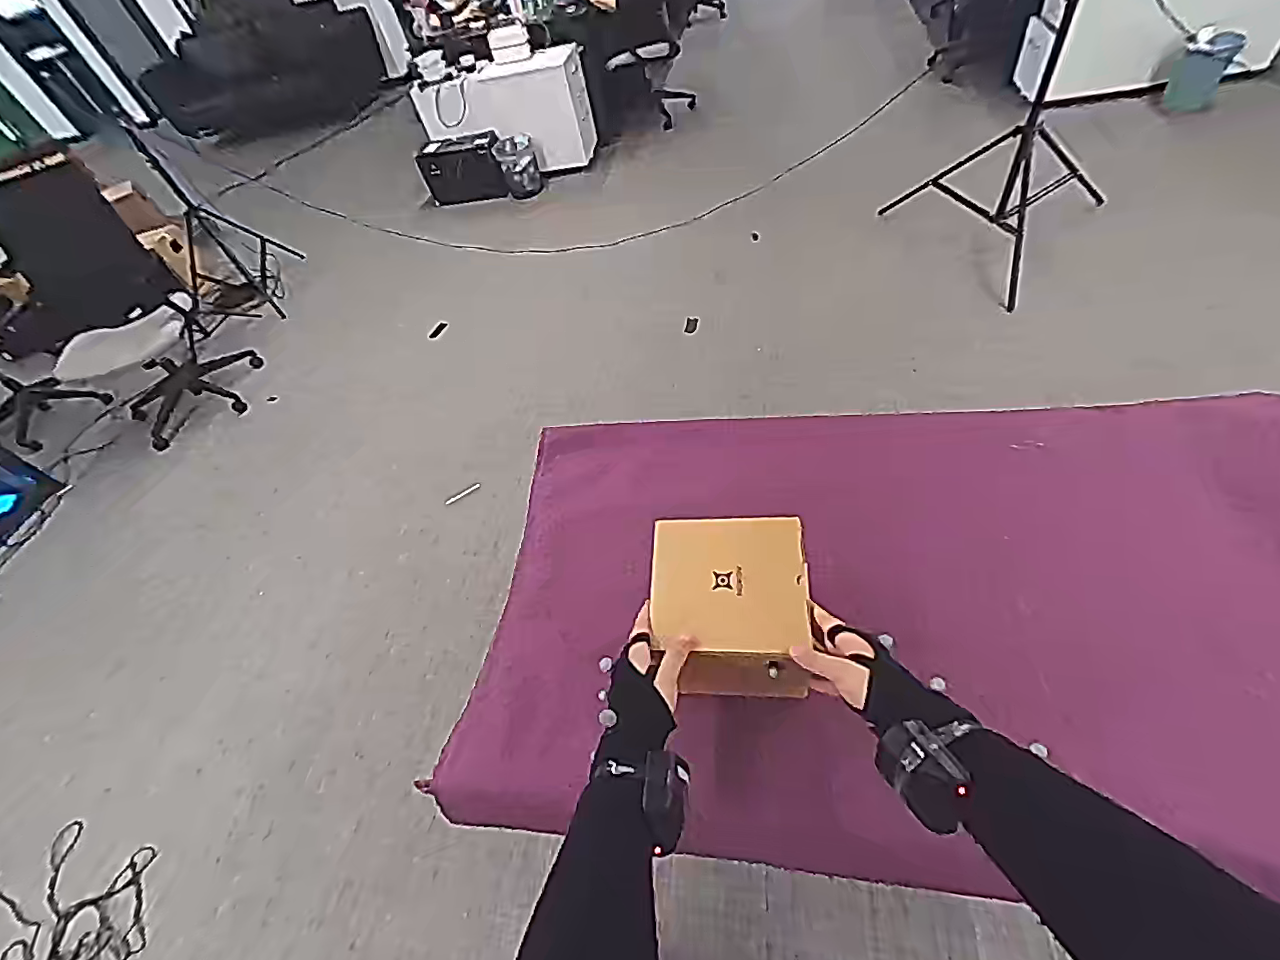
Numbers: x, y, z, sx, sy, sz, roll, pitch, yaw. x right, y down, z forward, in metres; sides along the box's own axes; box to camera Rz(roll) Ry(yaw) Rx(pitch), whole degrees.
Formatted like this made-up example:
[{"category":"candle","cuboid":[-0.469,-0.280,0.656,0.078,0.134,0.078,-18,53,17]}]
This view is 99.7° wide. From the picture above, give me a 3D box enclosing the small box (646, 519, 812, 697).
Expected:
[{"category":"small box","cuboid":[0.112,0.163,0.673,0.179,0.176,0.168,-2,53,11]}]
